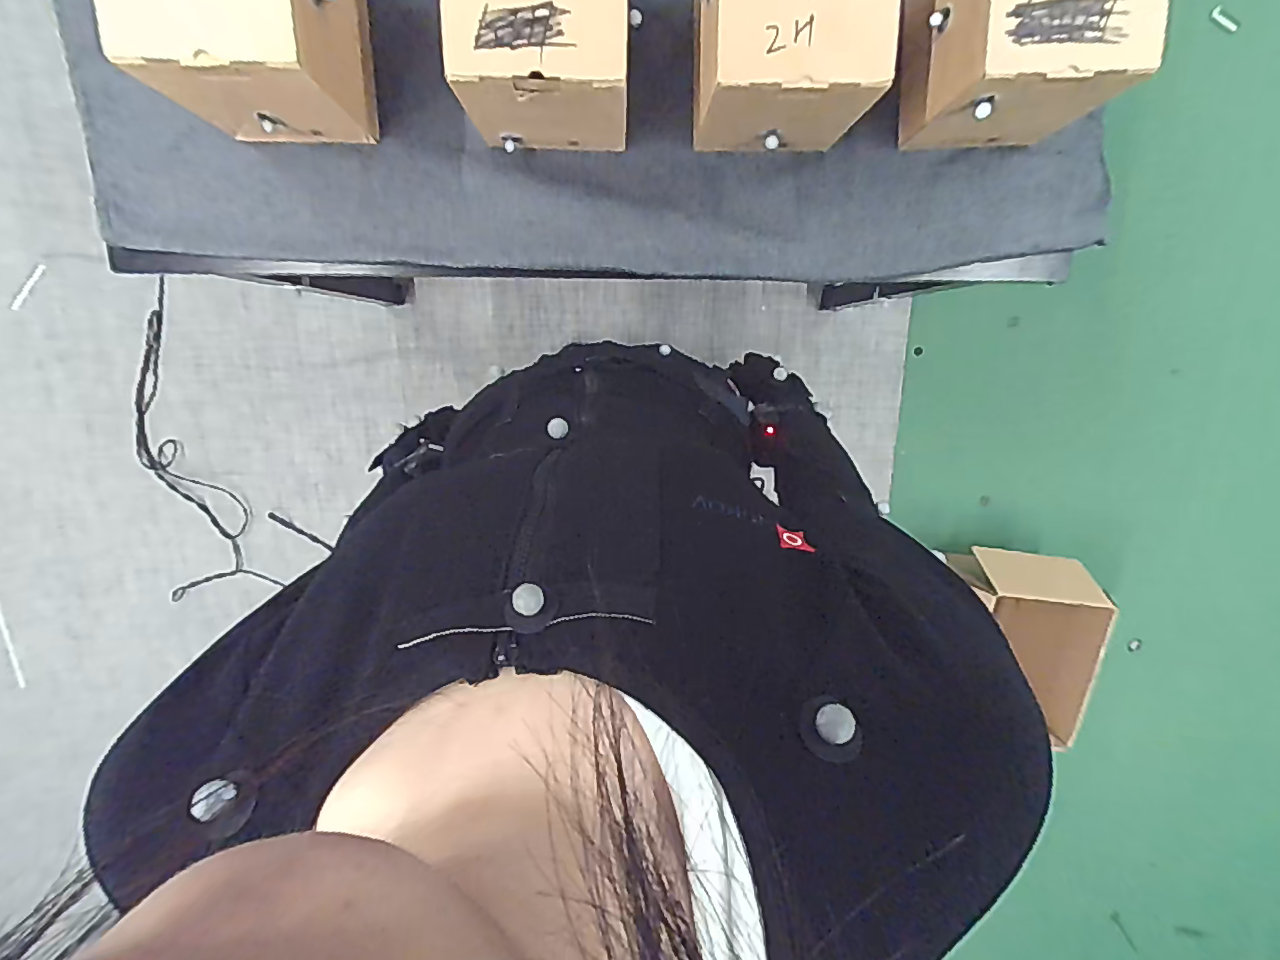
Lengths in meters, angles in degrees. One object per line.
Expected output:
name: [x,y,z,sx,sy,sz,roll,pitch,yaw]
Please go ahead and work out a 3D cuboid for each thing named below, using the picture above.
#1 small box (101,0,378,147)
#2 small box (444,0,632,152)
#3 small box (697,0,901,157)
small box: [-0.380,-0.462,0.535,0.168,0.176,0.179,-1,102,-3]
small box: [-0.092,-0.458,0.549,0.168,0.176,0.179,1,102,-3]
small box: [0.150,-0.461,0.558,0.168,0.176,0.179,-1,103,-1]
